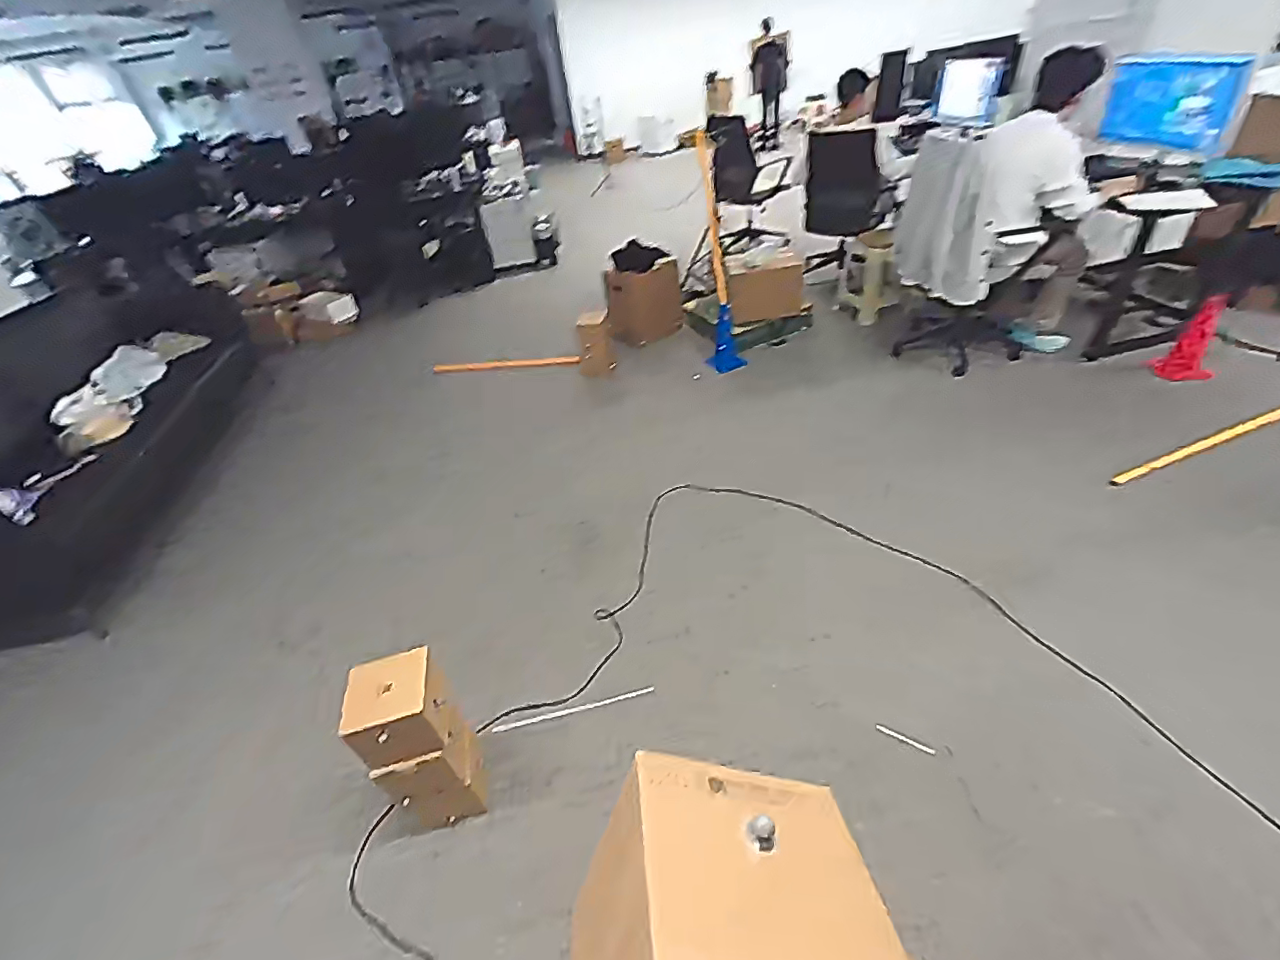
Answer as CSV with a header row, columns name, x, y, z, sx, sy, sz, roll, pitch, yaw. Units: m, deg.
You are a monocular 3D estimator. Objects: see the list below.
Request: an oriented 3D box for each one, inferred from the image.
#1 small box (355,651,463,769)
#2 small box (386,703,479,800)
name,x,y,z,sx,sy,sz,roll,pitch,yaw
small box,-0.521,0.532,1.251,0.179,0.176,0.168,-16,39,-5
small box,-0.507,0.665,1.346,0.168,0.176,0.179,-16,38,-6
